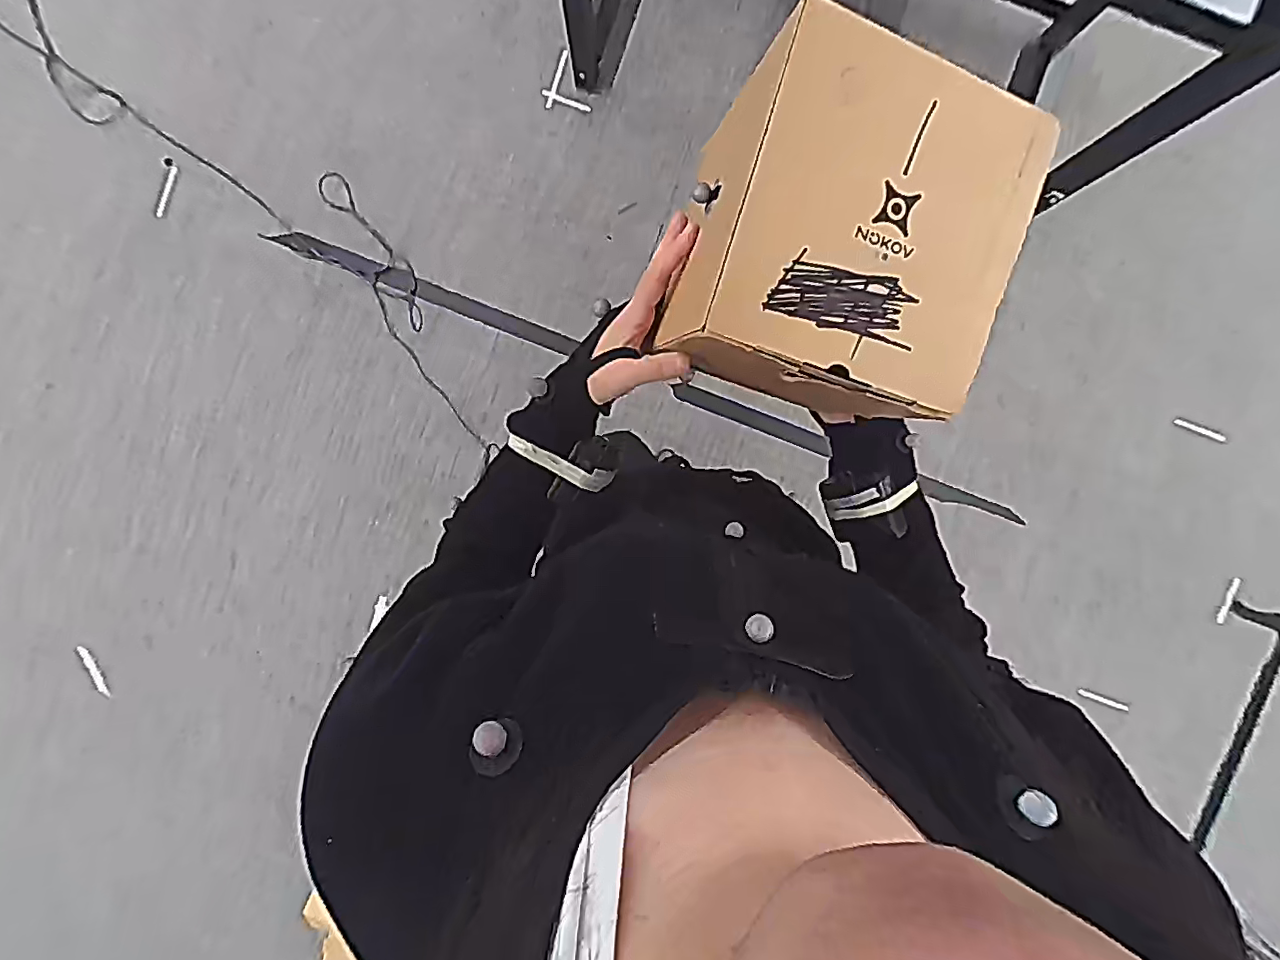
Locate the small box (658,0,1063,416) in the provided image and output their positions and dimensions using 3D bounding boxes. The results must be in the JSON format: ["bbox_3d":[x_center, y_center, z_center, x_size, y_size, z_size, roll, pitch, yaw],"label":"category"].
[{"bbox_3d":[0.121,-0.152,0.369,0.168,0.176,0.179,16,95,-13],"label":"small box"}]
